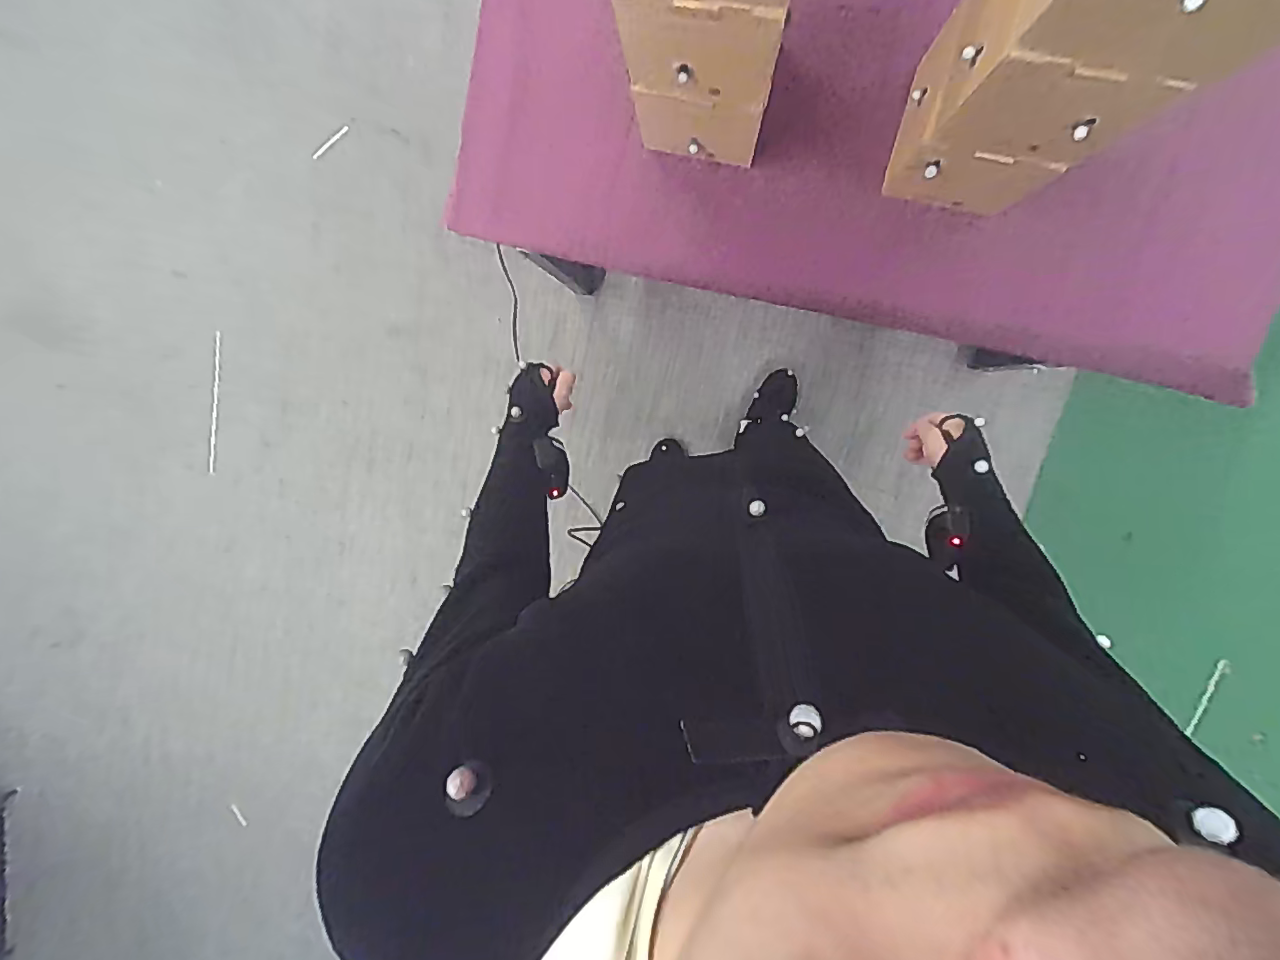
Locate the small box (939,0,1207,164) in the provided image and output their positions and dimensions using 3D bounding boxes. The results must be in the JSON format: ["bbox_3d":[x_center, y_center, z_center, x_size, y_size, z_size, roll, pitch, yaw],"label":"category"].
[{"bbox_3d":[0.423,-0.441,0.526,0.168,0.176,0.179,13,100,4],"label":"small box"}]

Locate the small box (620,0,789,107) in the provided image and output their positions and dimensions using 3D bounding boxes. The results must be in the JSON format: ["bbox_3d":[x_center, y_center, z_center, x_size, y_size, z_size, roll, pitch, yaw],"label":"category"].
[{"bbox_3d":[0.075,-0.528,0.552,0.168,0.176,0.179,12,101,4],"label":"small box"}]

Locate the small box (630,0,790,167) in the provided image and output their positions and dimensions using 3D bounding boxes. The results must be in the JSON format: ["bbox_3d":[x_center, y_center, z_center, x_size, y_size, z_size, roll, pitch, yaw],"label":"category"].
[{"bbox_3d":[0.093,-0.552,0.712,0.168,0.176,0.179,14,101,4],"label":"small box"}]

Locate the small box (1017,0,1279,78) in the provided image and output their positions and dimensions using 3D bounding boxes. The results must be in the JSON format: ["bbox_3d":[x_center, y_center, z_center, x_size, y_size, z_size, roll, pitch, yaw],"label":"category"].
[{"bbox_3d":[0.413,-0.414,0.365,0.179,0.176,0.168,14,100,4],"label":"small box"}]
